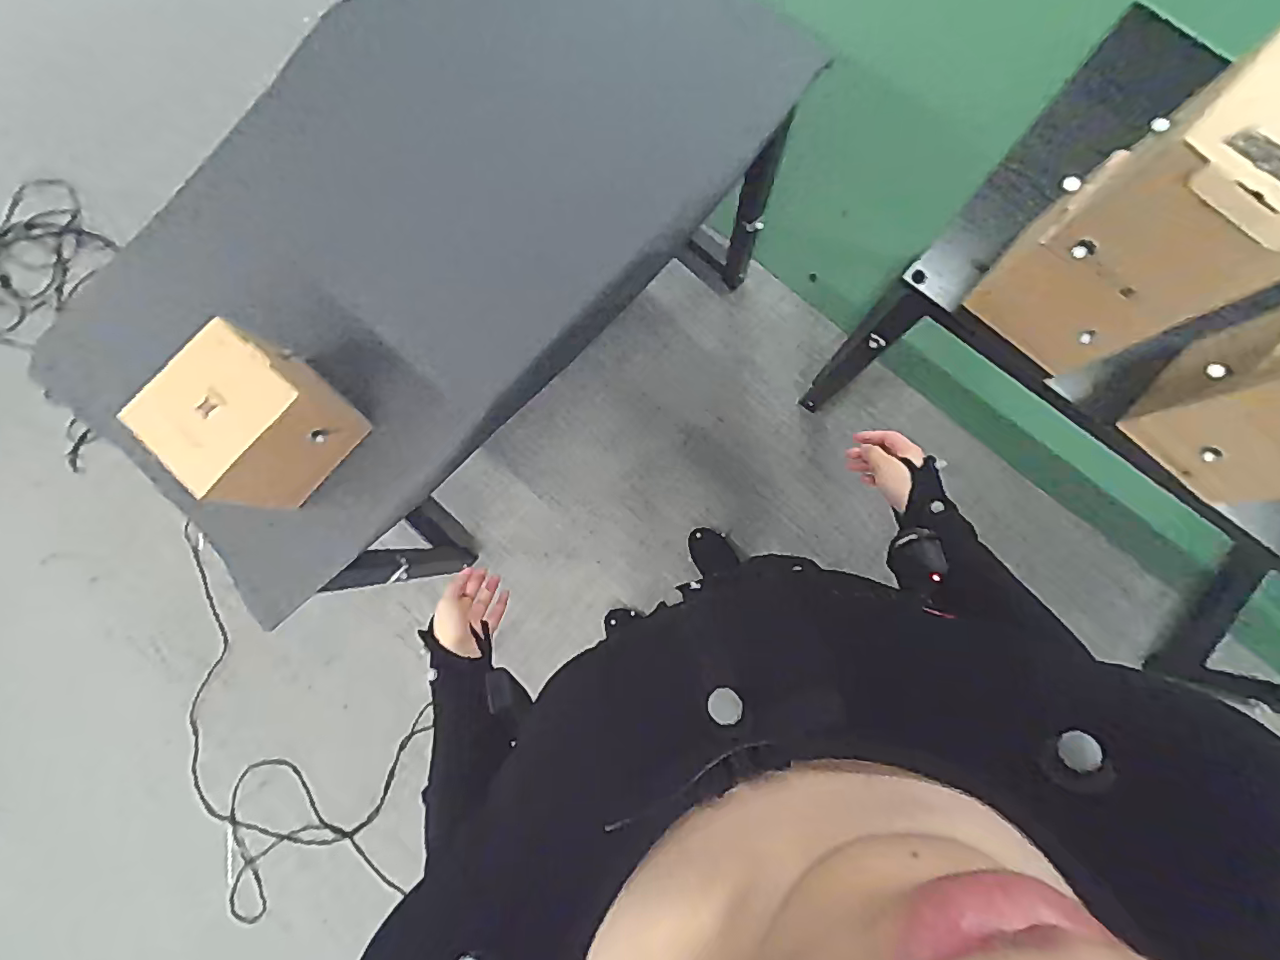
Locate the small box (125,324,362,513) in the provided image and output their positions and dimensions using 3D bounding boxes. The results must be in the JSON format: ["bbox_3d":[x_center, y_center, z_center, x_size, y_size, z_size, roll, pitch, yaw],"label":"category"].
[{"bbox_3d":[-0.523,-0.073,0.748,0.168,0.176,0.179,40,87,9],"label":"small box"}]

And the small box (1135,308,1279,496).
[{"bbox_3d":[0.798,-0.096,0.685,0.168,0.176,0.179,45,87,6],"label":"small box"}]

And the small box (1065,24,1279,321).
[{"bbox_3d":[0.594,-0.297,0.553,0.168,0.176,0.179,44,86,5],"label":"small box"}]

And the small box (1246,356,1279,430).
[{"bbox_3d":[0.786,-0.091,0.521,0.168,0.176,0.179,-37,83,-2],"label":"small box"}]
